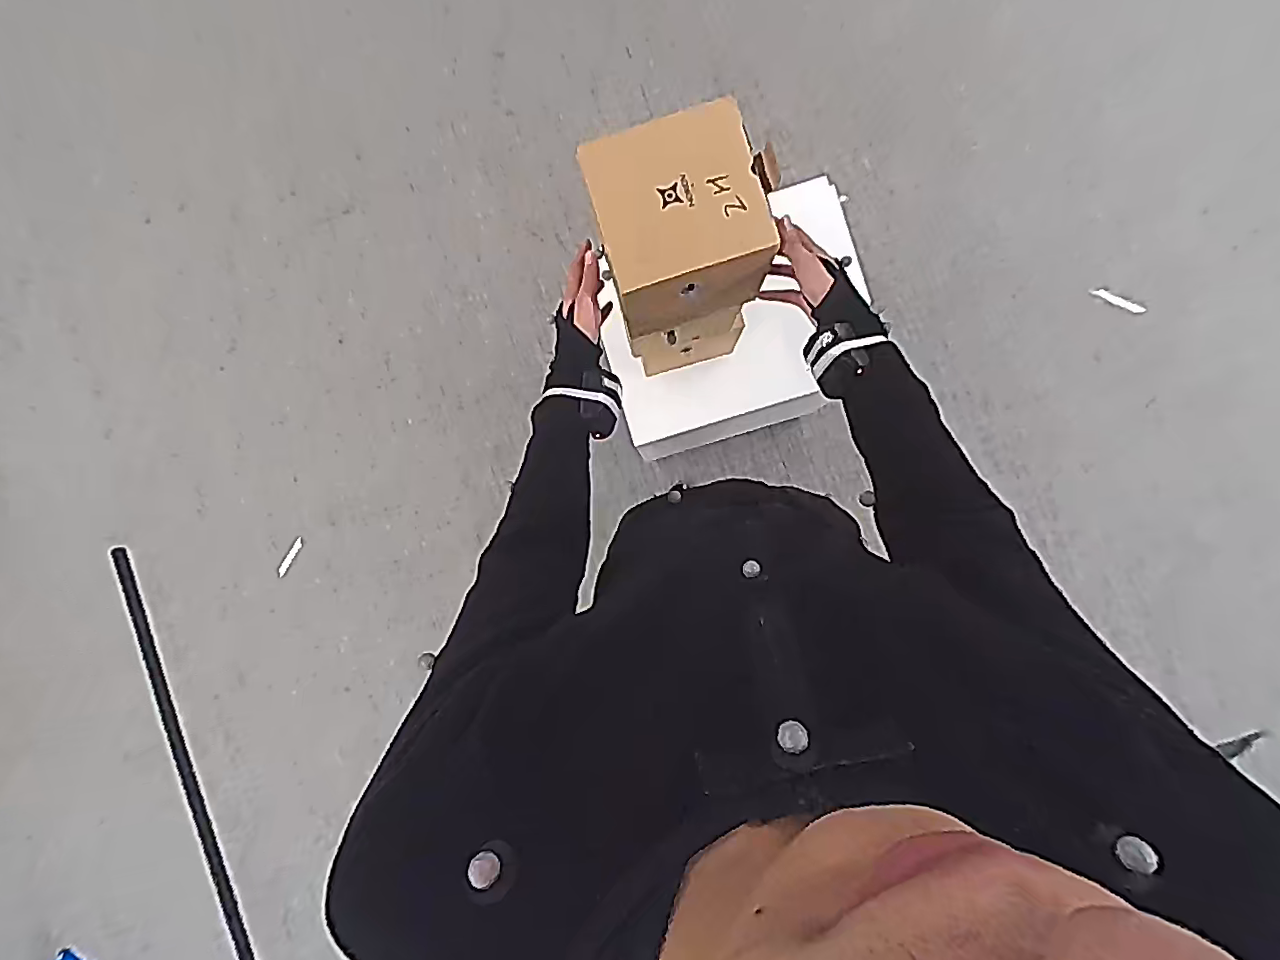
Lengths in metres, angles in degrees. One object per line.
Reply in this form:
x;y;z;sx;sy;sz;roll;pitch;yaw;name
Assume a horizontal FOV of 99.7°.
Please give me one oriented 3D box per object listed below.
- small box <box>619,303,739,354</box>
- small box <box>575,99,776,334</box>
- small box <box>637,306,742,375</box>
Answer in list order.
0.043;-0.299;0.805;0.168;0.176;0.179;-14;87;2;small box
0.040;-0.291;0.640;0.179;0.176;0.168;-17;88;1;small box
0.067;-0.300;0.967;0.179;0.176;0.168;-16;88;1;small box
